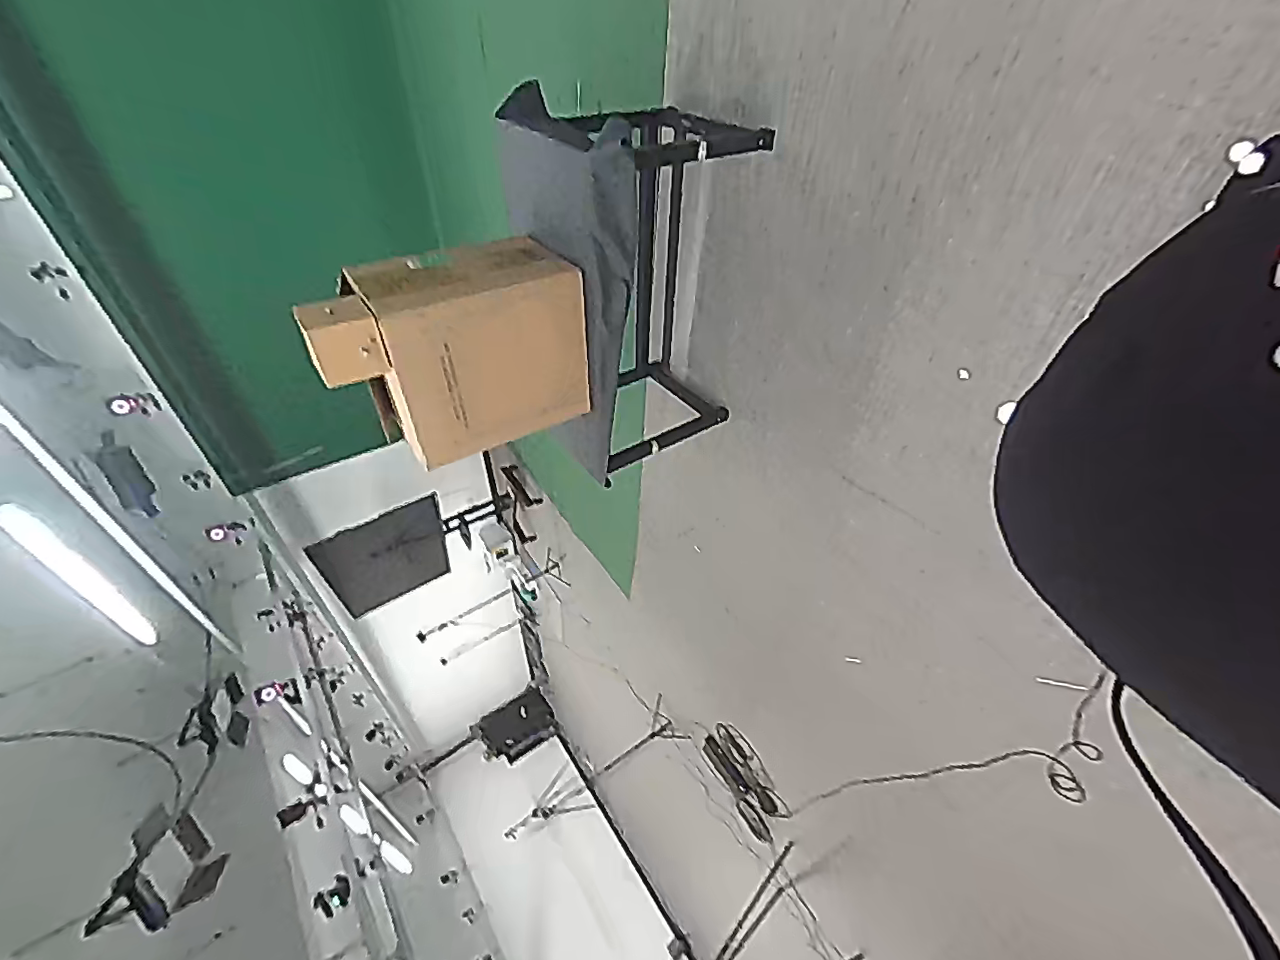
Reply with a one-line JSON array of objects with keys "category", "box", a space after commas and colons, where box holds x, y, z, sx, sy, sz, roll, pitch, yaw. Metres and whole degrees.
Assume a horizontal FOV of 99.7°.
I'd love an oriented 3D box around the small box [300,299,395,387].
[{"category": "small box", "box": [-0.795, -0.382, 1.480, 0.179, 0.176, 0.168, 42, 145, 37]}]
